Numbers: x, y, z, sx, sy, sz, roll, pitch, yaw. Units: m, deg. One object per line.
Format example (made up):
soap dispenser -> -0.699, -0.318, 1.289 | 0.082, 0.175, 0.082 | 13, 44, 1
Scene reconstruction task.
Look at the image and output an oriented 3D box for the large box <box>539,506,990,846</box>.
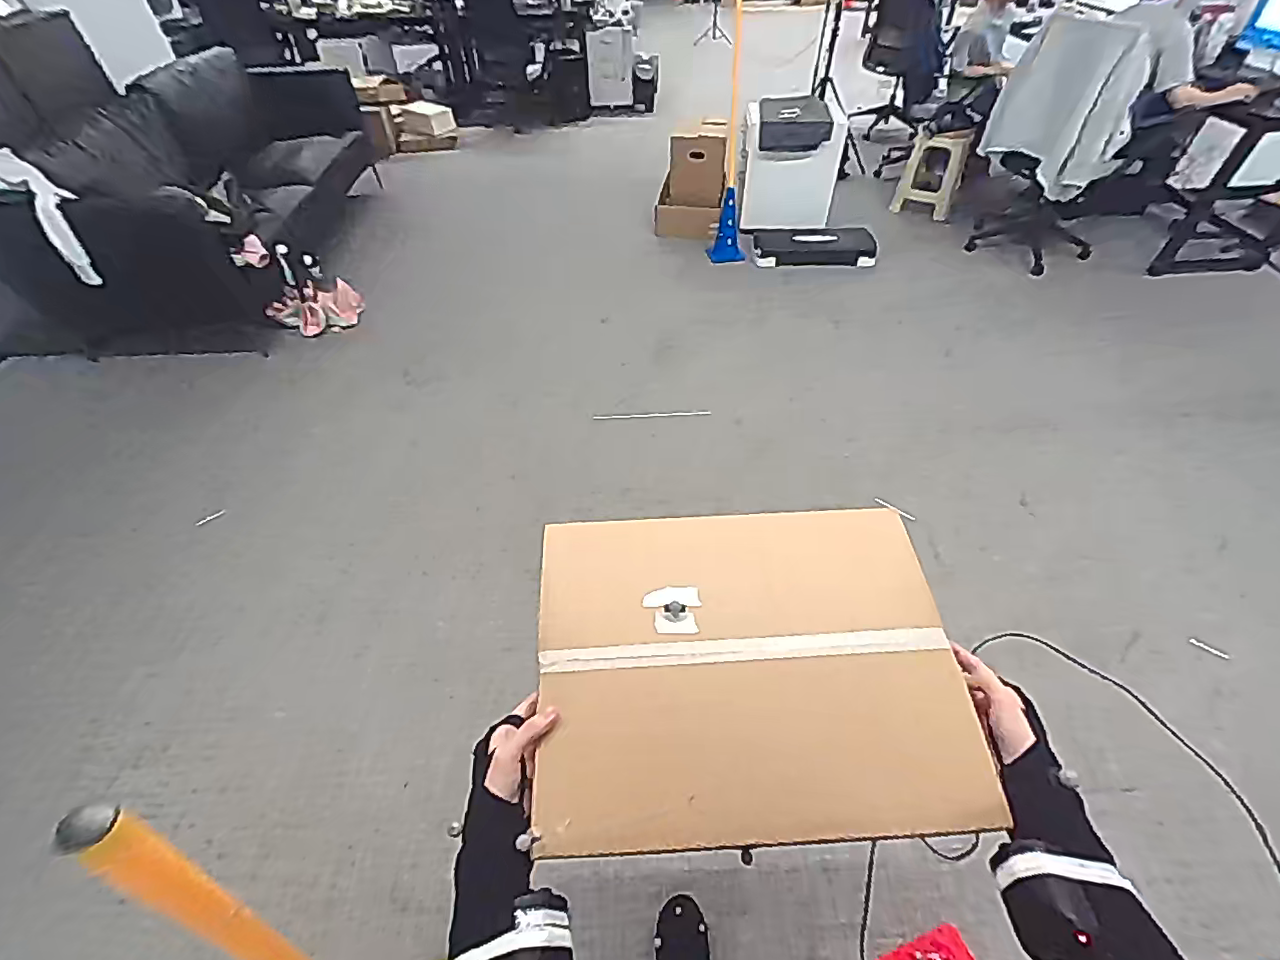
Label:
large box -> 0.107, 0.252, 0.672 | 0.408, 0.320, 0.320 | -3, 56, 0
